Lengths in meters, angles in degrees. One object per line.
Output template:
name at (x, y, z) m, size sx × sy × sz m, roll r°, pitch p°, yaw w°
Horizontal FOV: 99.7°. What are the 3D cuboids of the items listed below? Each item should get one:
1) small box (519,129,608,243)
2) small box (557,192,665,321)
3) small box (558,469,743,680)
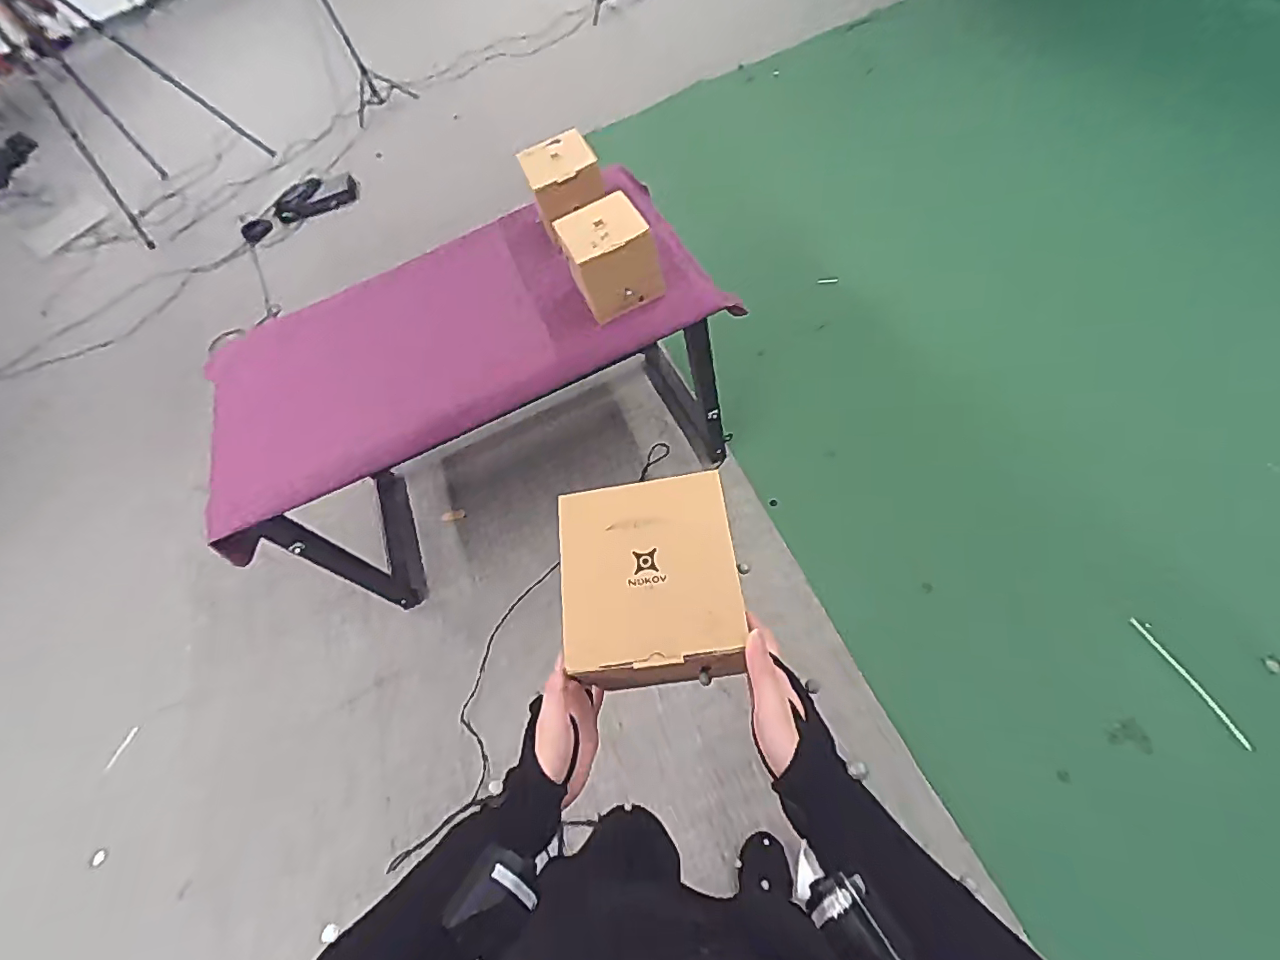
small box at (-0.179, -0.727, 1.360) m, size 0.168 × 0.176 × 0.179 m, roll -24°, pitch 61°, yaw -1°
small box at (-0.061, -0.487, 1.192) m, size 0.168 × 0.176 × 0.179 m, roll -26°, pitch 57°, yaw 0°
small box at (0.016, 0.112, 0.578) m, size 0.168 × 0.176 × 0.179 m, roll -9°, pitch 62°, yaw 5°
